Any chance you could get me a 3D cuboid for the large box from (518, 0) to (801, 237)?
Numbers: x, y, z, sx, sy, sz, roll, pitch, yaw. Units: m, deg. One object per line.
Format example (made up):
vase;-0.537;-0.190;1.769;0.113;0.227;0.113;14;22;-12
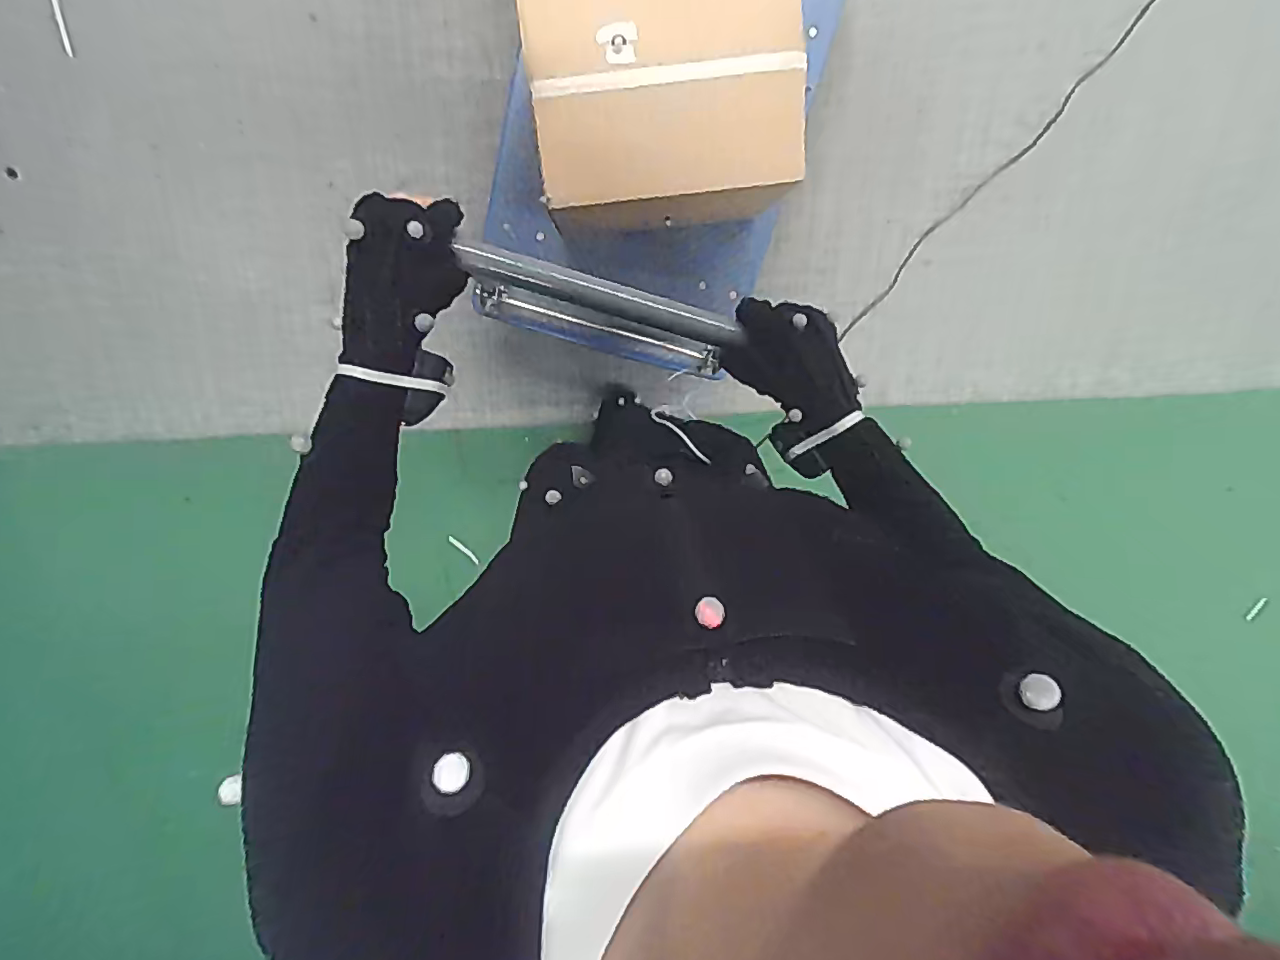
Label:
large box;0.035;-0.632;0.946;0.408;0.320;0.320;-7;106;0
